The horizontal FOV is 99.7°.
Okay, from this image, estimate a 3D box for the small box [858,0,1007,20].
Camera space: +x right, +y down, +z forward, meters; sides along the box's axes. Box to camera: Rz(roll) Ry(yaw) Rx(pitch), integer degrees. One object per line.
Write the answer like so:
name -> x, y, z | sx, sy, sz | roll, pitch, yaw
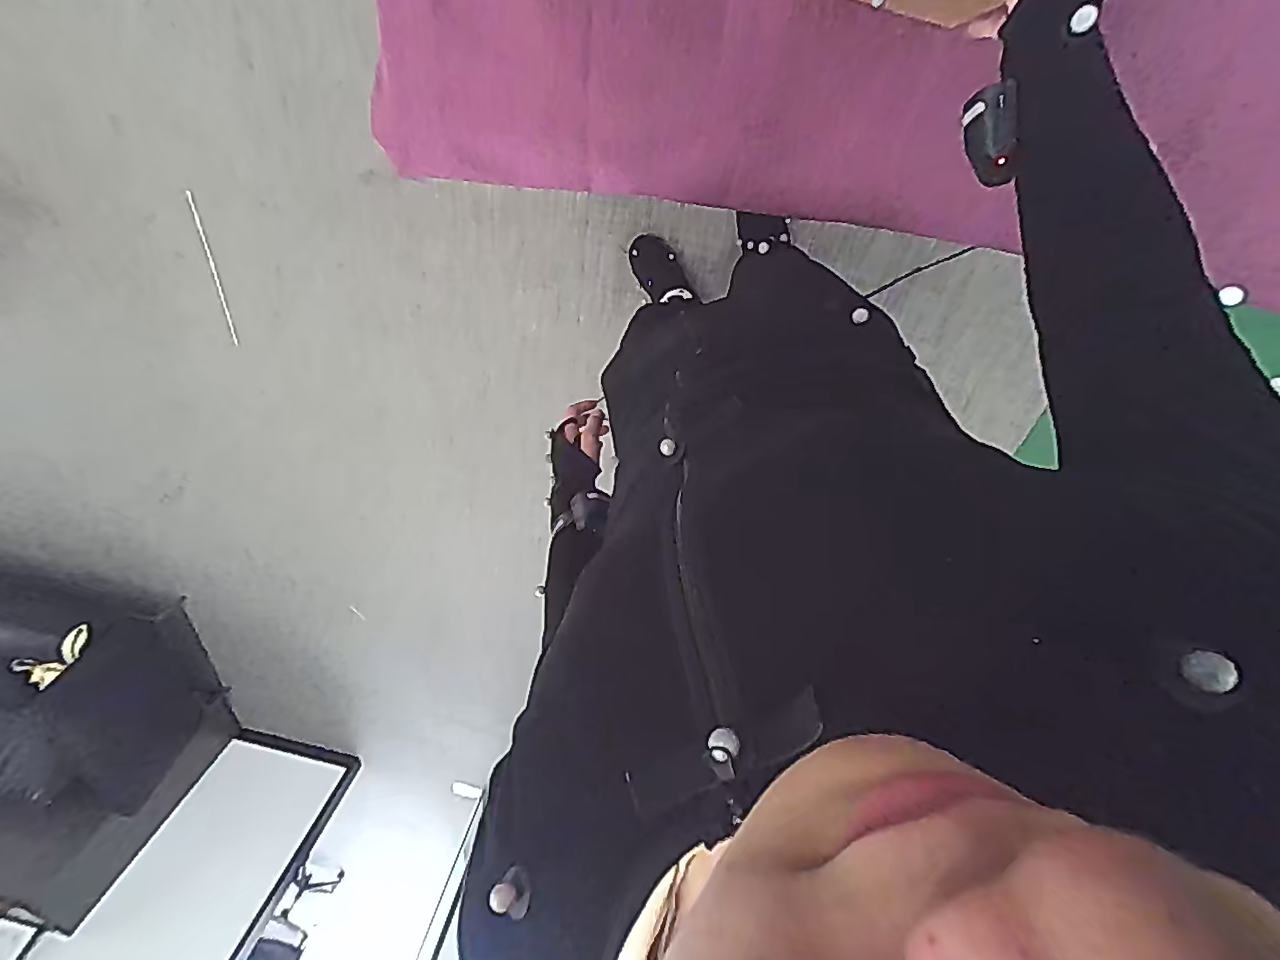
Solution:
small box -> 0.253, -0.522, 0.459 | 0.179, 0.176, 0.168 | 18, 125, 1
